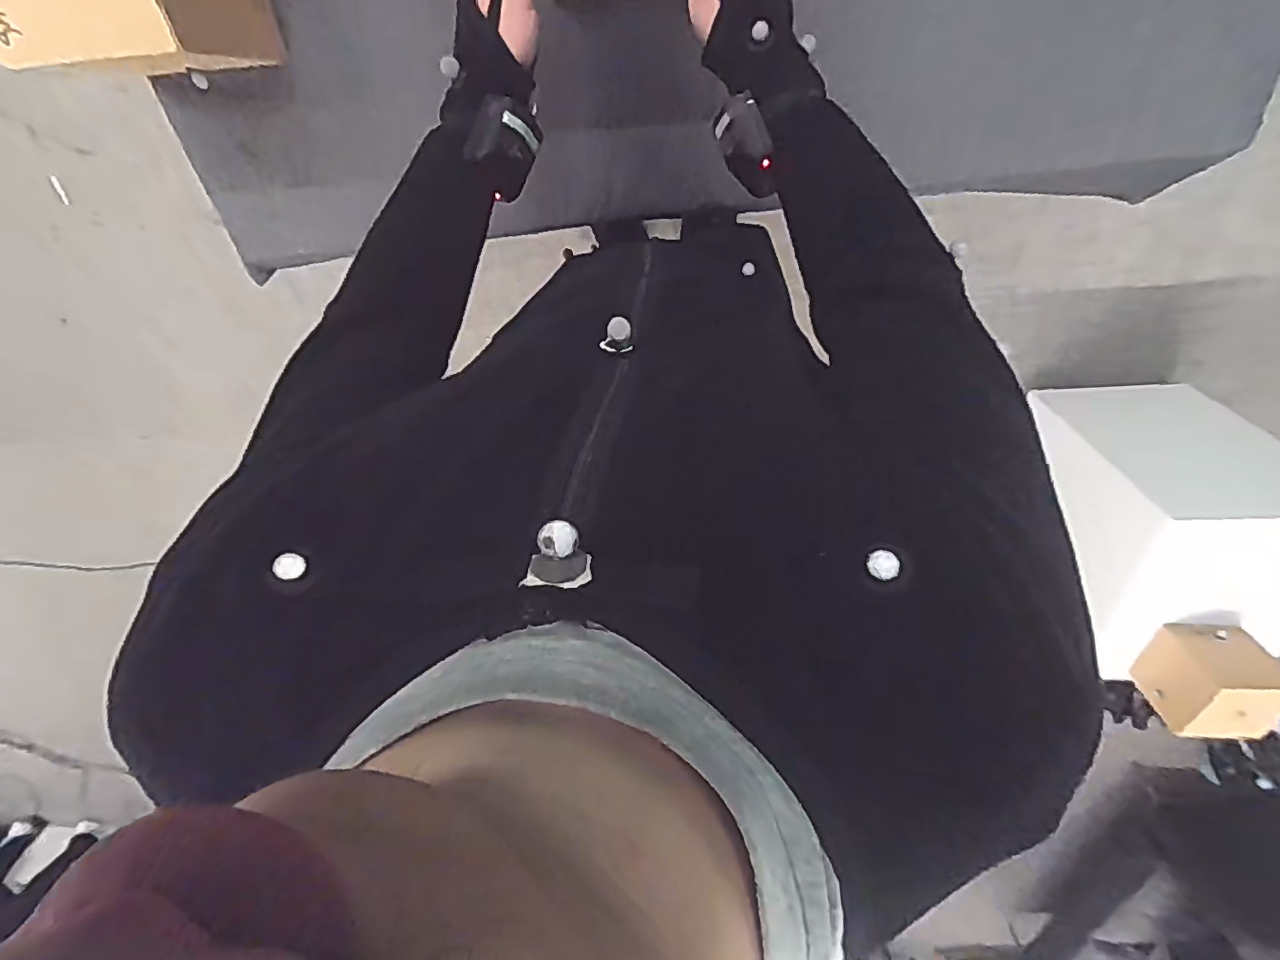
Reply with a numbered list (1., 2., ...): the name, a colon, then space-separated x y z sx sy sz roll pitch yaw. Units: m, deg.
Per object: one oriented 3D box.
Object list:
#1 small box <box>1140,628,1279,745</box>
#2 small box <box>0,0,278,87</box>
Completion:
1. small box: 1.240 0.441 1.161 0.168 0.176 0.179 -1 124 5
2. small box: -0.481 -0.473 0.500 0.179 0.176 0.168 -2 125 5
